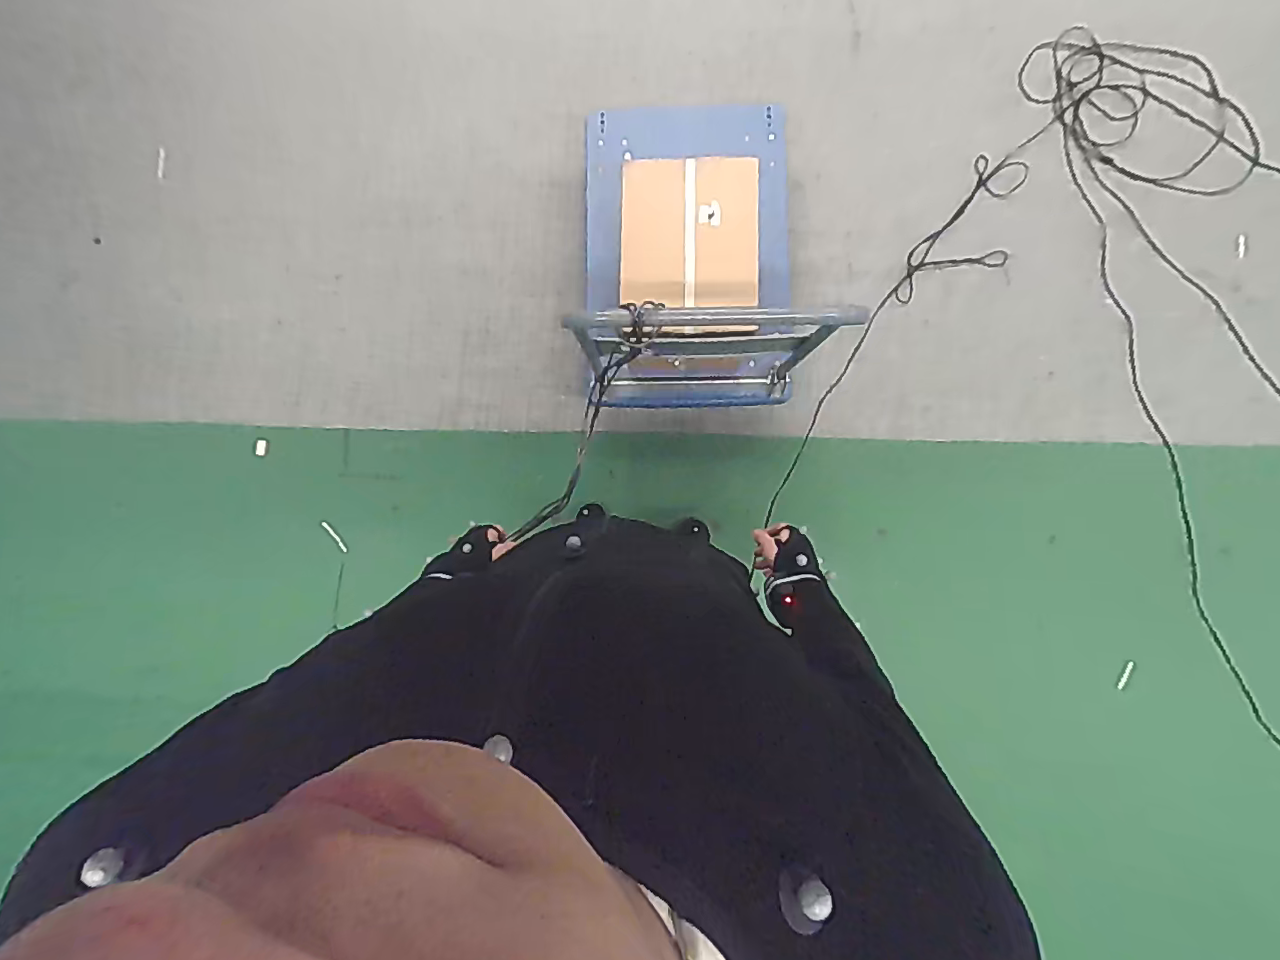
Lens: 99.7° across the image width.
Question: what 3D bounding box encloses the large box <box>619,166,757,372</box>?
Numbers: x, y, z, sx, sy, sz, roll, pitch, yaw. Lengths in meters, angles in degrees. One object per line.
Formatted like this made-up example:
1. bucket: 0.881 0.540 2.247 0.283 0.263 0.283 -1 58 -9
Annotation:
1. large box: 0.116 -0.514 1.381 0.320 0.320 0.408 1 85 2
